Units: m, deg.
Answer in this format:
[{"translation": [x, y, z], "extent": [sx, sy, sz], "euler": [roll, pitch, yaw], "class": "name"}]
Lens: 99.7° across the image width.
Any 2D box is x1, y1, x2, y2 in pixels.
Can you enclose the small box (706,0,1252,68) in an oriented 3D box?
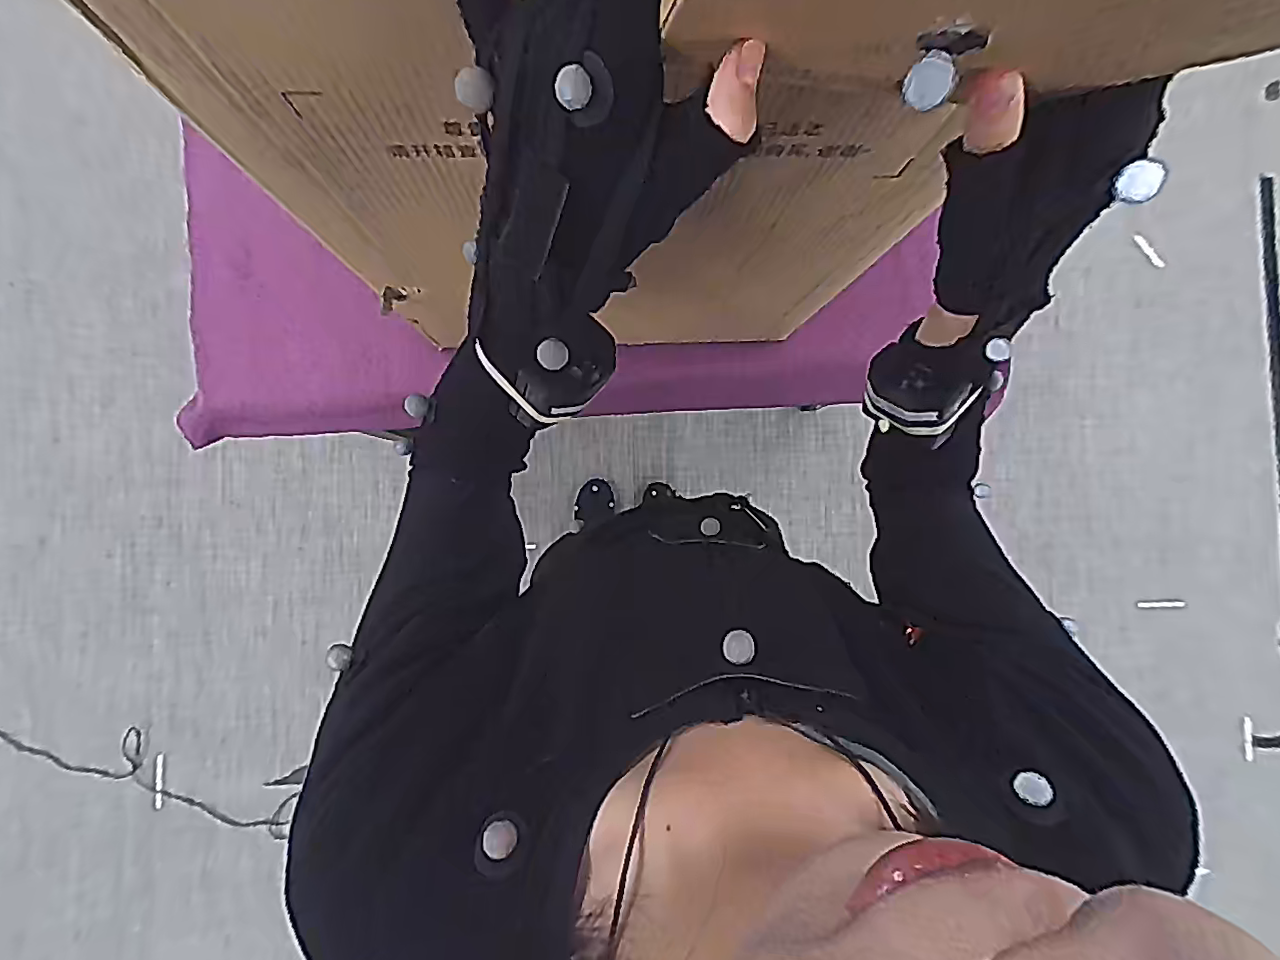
[{"translation": [0.102, -0.210, 0.110], "extent": [0.168, 0.176, 0.179], "euler": [2, 117, -7], "class": "small box"}]
